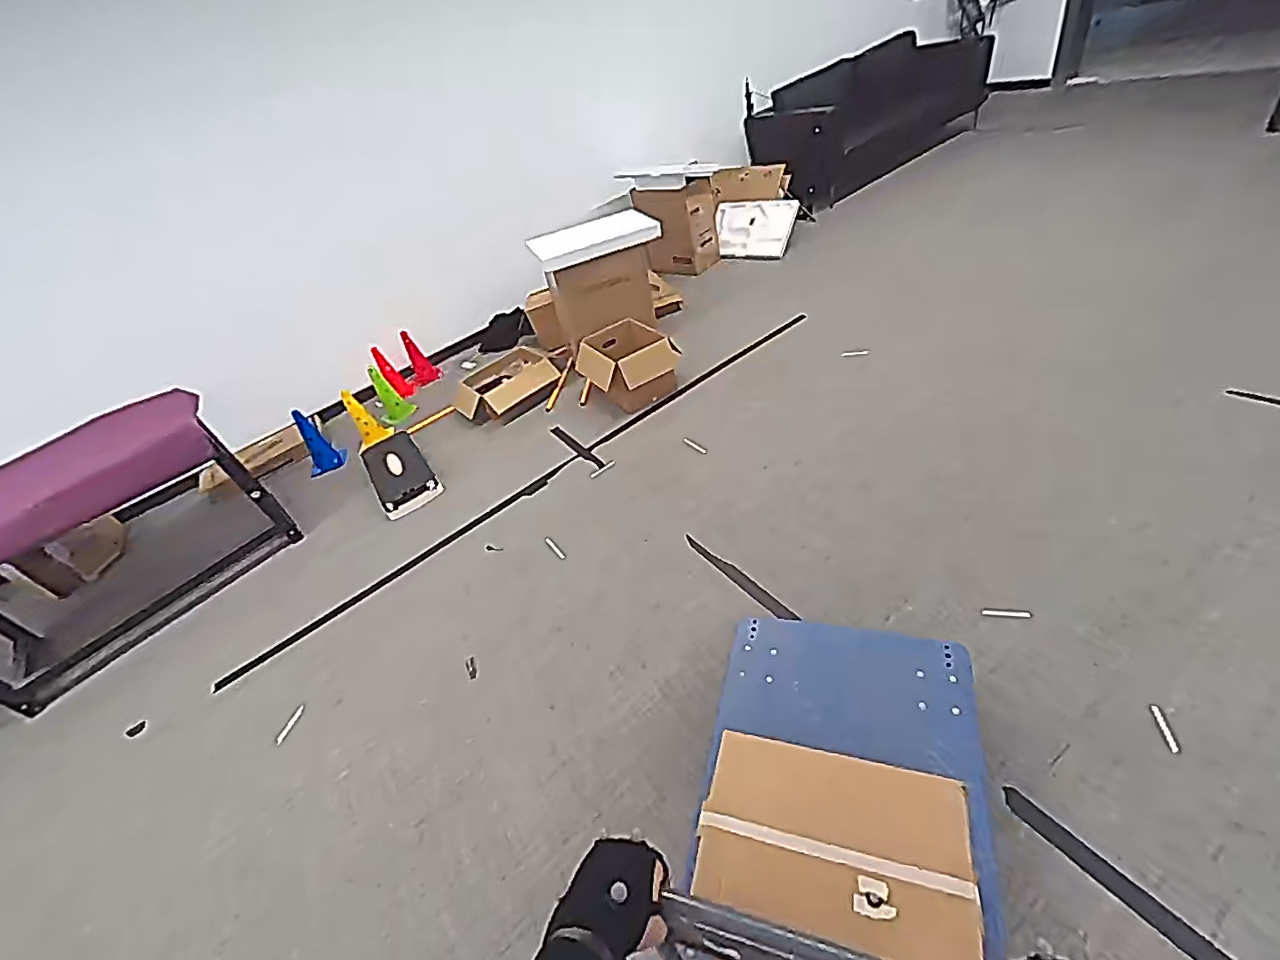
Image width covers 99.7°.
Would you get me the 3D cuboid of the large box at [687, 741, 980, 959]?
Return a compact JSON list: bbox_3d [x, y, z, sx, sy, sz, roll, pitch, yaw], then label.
[{"bbox_3d":[0.326,0.712,0.942,0.408,0.320,0.320,3,43,22],"label":"large box"}]
